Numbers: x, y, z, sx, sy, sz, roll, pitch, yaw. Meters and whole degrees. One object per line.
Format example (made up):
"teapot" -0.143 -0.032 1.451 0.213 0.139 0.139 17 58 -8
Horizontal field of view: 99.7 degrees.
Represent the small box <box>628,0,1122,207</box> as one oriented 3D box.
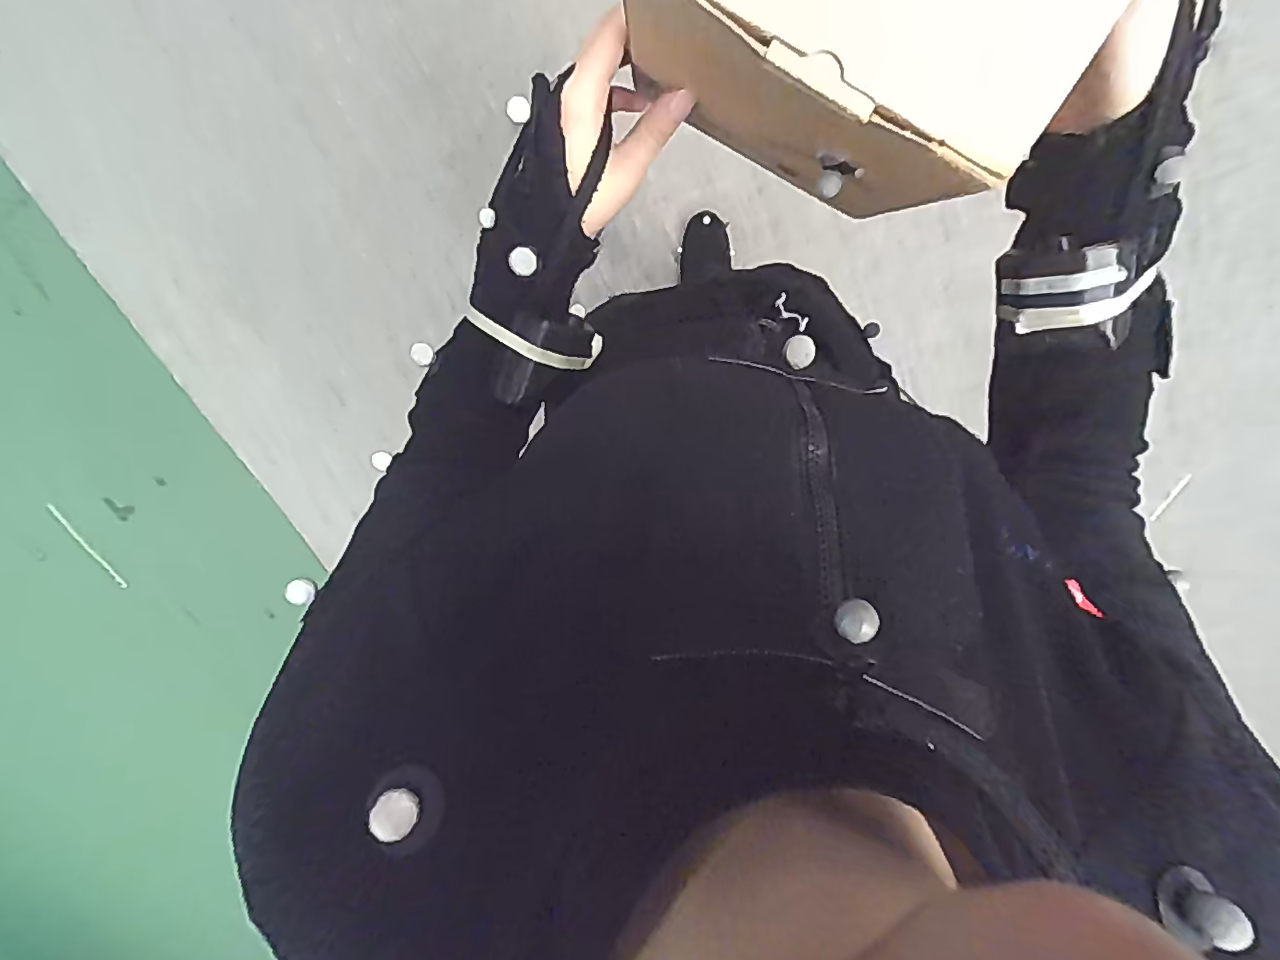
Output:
"small box" 0.103 -0.245 0.238 0.168 0.176 0.179 24 110 -8
